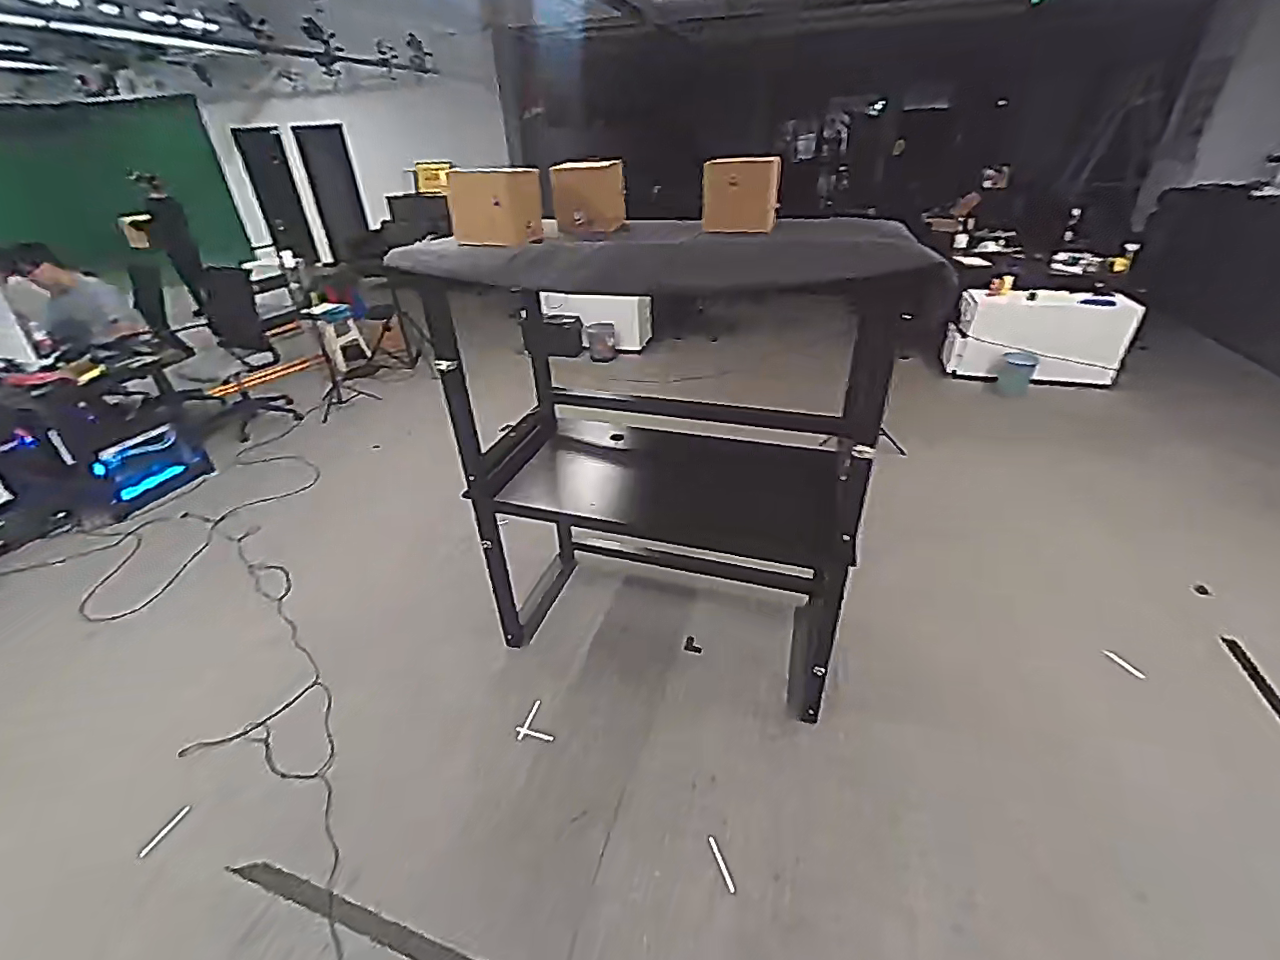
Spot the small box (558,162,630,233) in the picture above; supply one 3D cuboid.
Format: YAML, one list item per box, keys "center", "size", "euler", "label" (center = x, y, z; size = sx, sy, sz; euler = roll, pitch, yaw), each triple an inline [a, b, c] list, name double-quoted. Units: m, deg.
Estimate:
- center: [-0.127, -0.823, 1.573]
  size: [0.168, 0.176, 0.179]
  euler: [4, 33, 11]
  label: "small box"

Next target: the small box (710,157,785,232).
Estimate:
- center: [0.291, -0.775, 1.469]
  size: [0.179, 0.176, 0.168]
  euler: [8, 35, 16]
  label: "small box"
